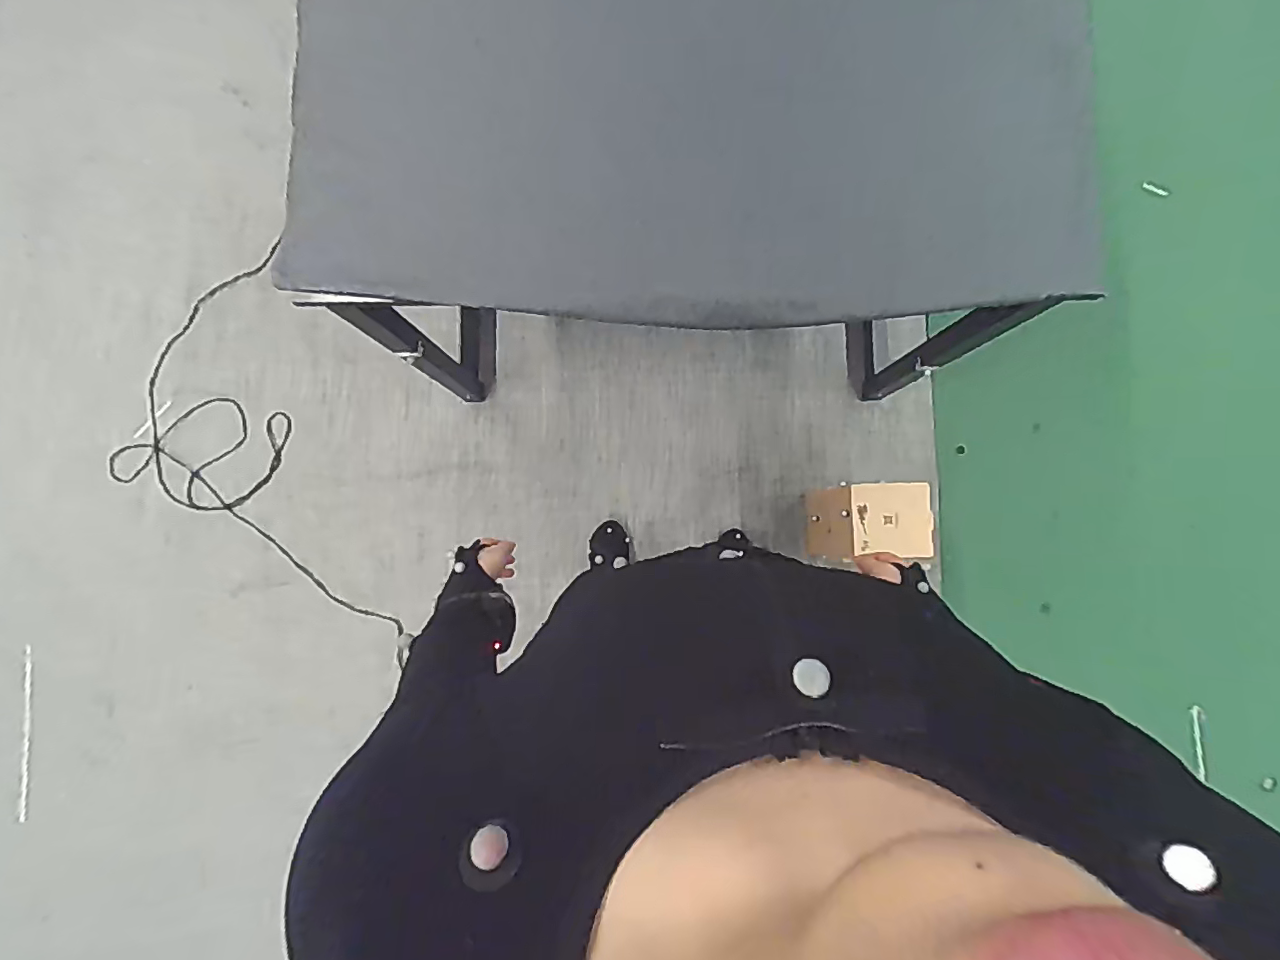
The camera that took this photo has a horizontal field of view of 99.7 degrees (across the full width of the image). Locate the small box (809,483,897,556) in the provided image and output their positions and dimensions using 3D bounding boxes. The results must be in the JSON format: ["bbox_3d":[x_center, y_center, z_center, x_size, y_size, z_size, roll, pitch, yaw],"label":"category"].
[{"bbox_3d":[0.547,0.102,1.407,0.168,0.176,0.179,-2,85,1],"label":"small box"}]
